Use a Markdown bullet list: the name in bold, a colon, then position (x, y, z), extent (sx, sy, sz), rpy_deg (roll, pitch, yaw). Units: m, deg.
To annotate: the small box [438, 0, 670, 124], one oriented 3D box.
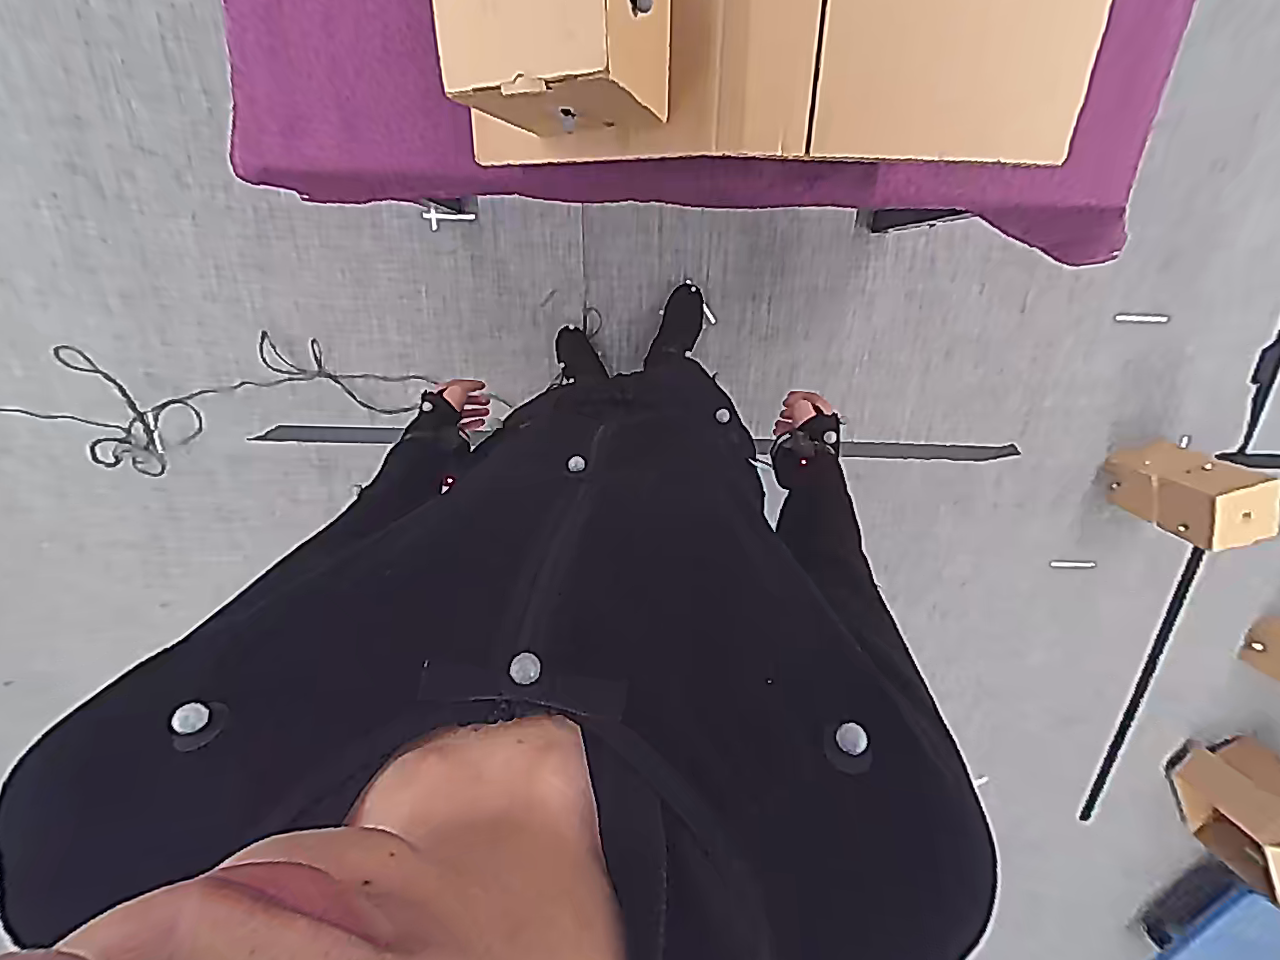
- **small box**: position (-0.072, -0.453, 0.510), extent (0.168, 0.176, 0.179), rpy_deg (8, 113, 18)
